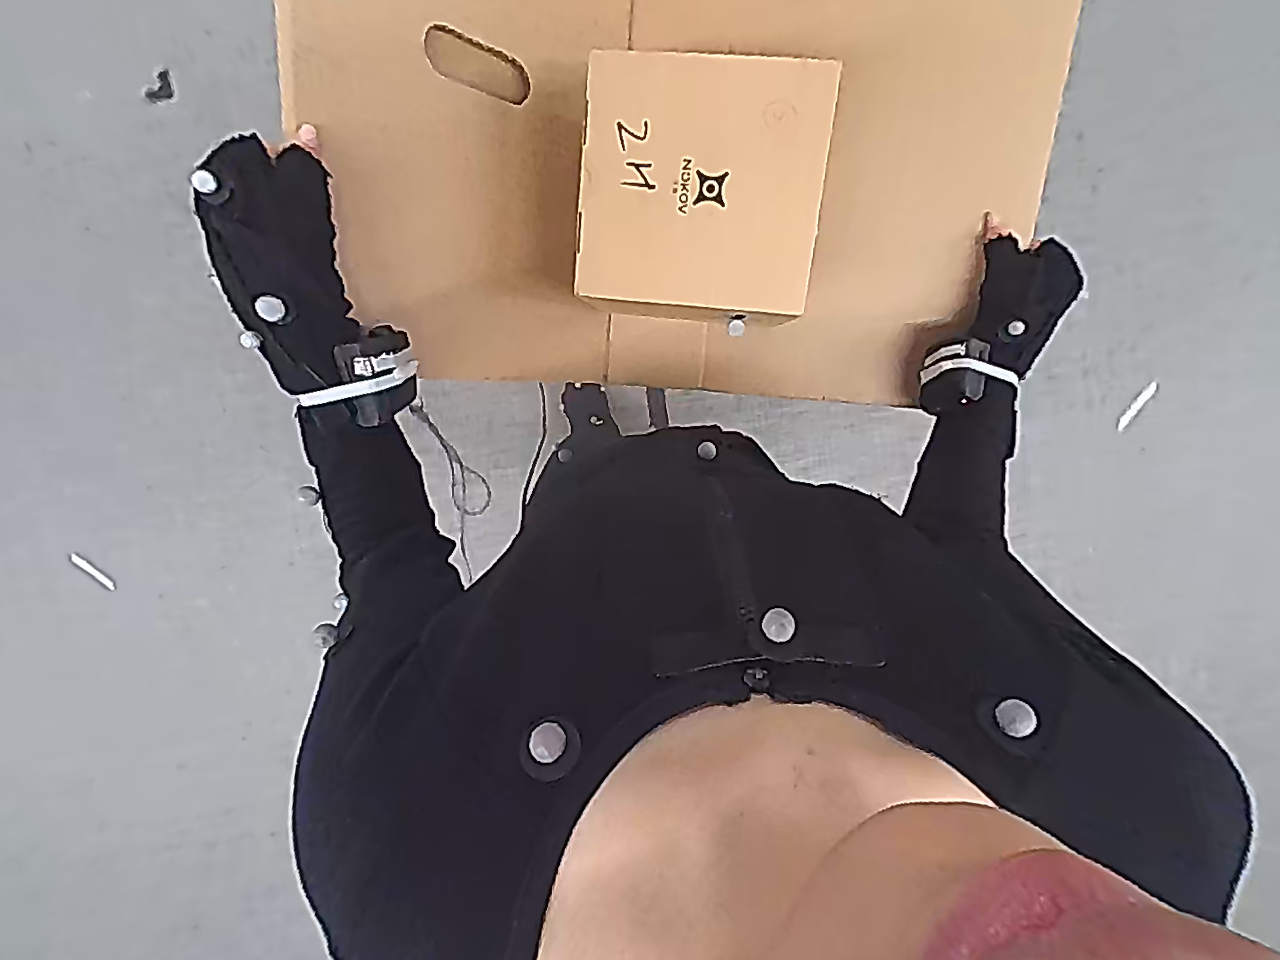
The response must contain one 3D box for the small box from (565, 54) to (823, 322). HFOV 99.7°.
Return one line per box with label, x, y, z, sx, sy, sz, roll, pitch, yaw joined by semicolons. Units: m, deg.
small box;0.042;-0.233;0.474;0.179;0.176;0.168;6;103;5
